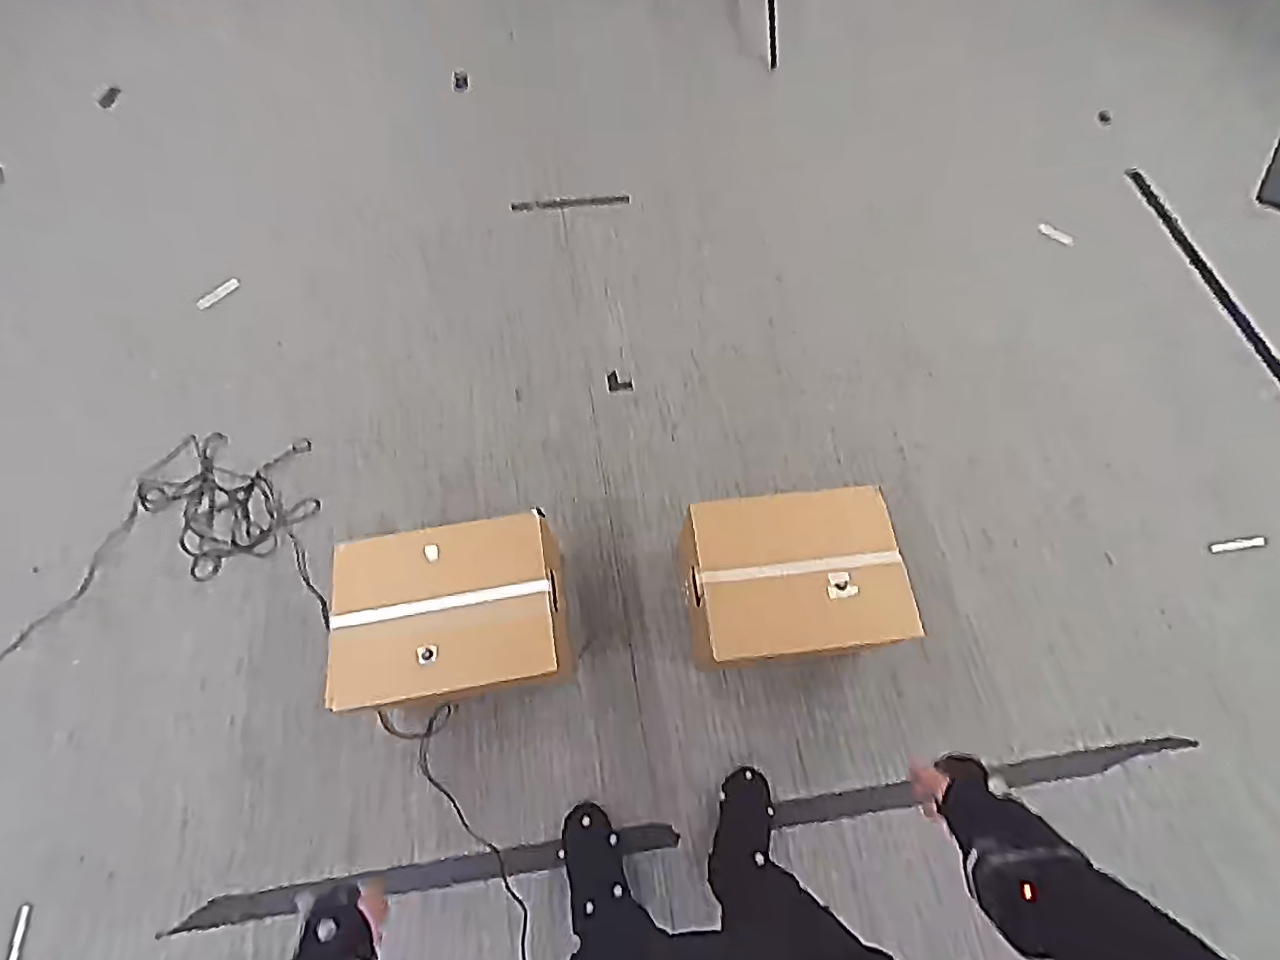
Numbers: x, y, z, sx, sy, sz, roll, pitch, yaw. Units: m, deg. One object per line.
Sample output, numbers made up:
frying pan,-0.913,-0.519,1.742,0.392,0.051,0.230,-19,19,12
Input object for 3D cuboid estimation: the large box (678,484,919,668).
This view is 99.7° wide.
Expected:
large box,0.316,0.226,1.209,0.408,0.320,0.320,-5,68,-4
